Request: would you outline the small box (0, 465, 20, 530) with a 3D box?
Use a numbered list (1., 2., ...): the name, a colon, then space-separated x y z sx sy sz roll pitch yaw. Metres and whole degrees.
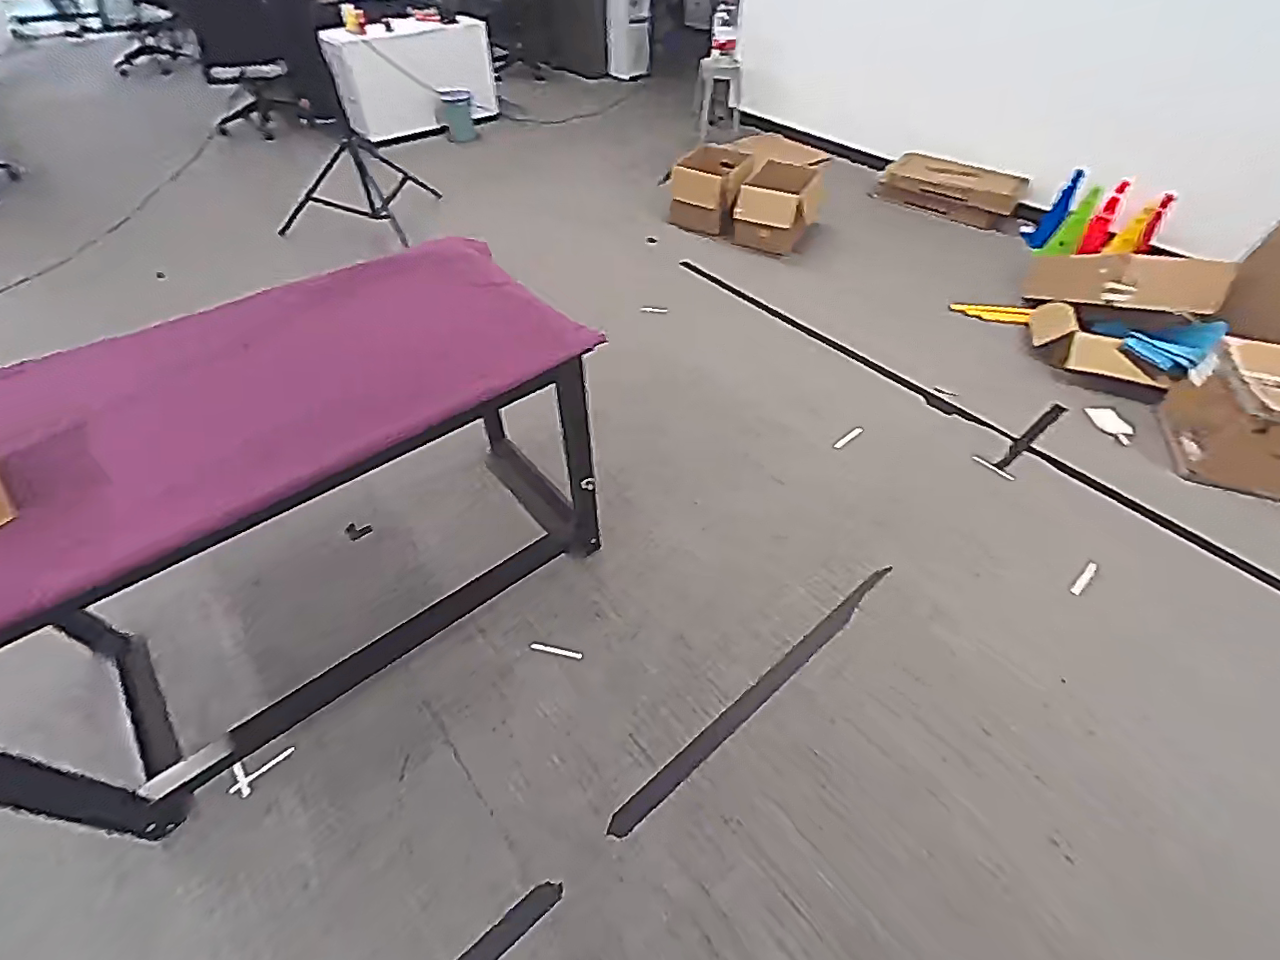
1. small box: -1.018 0.007 0.732 0.179 0.176 0.168 35 57 25
